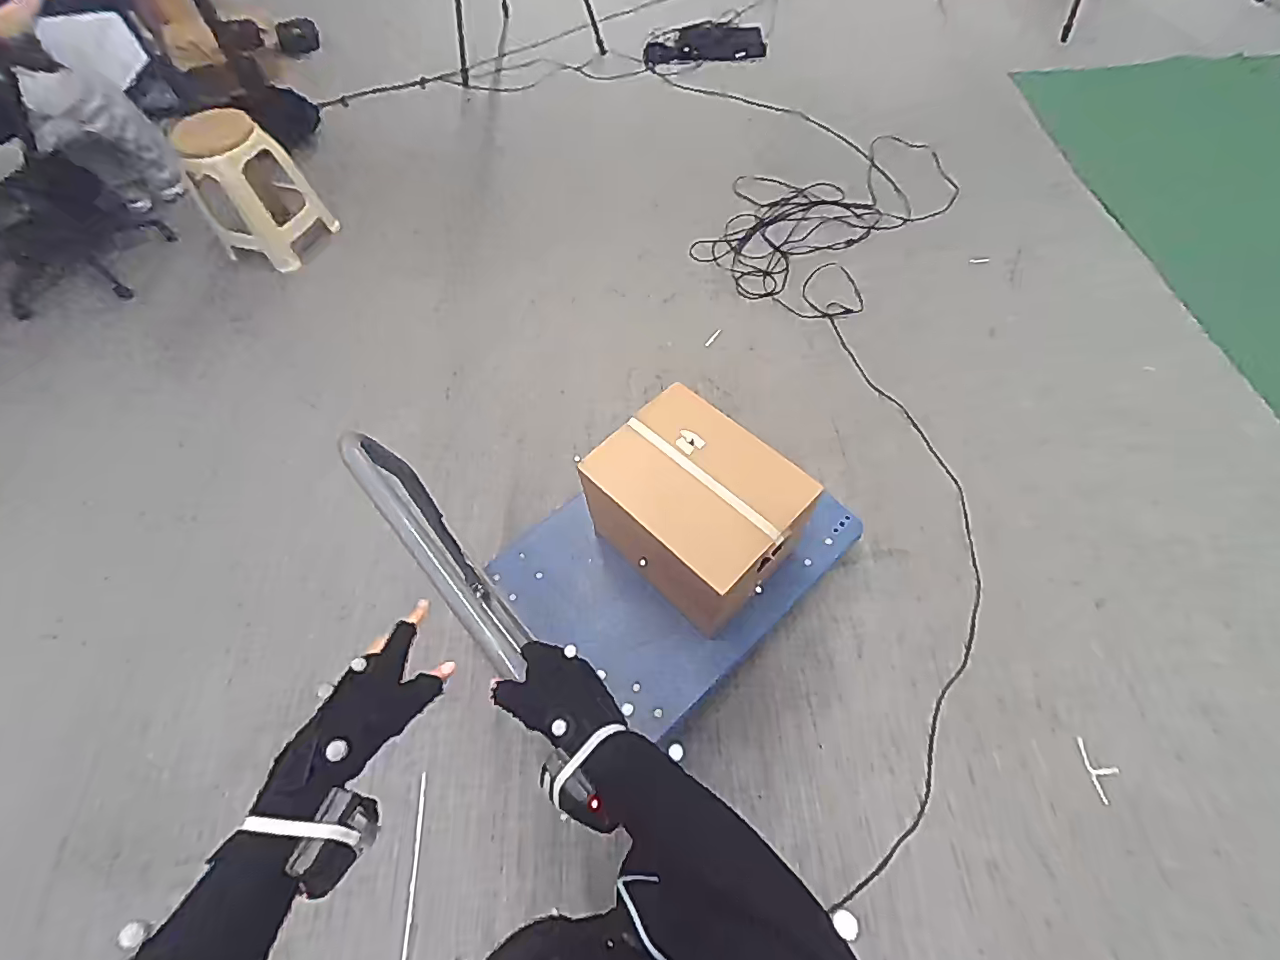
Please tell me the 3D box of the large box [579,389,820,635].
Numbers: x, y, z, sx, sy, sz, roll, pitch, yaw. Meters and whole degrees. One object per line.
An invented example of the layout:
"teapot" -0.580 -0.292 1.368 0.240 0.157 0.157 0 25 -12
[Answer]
"large box" 0.127 0.076 1.233 0.320 0.320 0.408 -41 64 -20
